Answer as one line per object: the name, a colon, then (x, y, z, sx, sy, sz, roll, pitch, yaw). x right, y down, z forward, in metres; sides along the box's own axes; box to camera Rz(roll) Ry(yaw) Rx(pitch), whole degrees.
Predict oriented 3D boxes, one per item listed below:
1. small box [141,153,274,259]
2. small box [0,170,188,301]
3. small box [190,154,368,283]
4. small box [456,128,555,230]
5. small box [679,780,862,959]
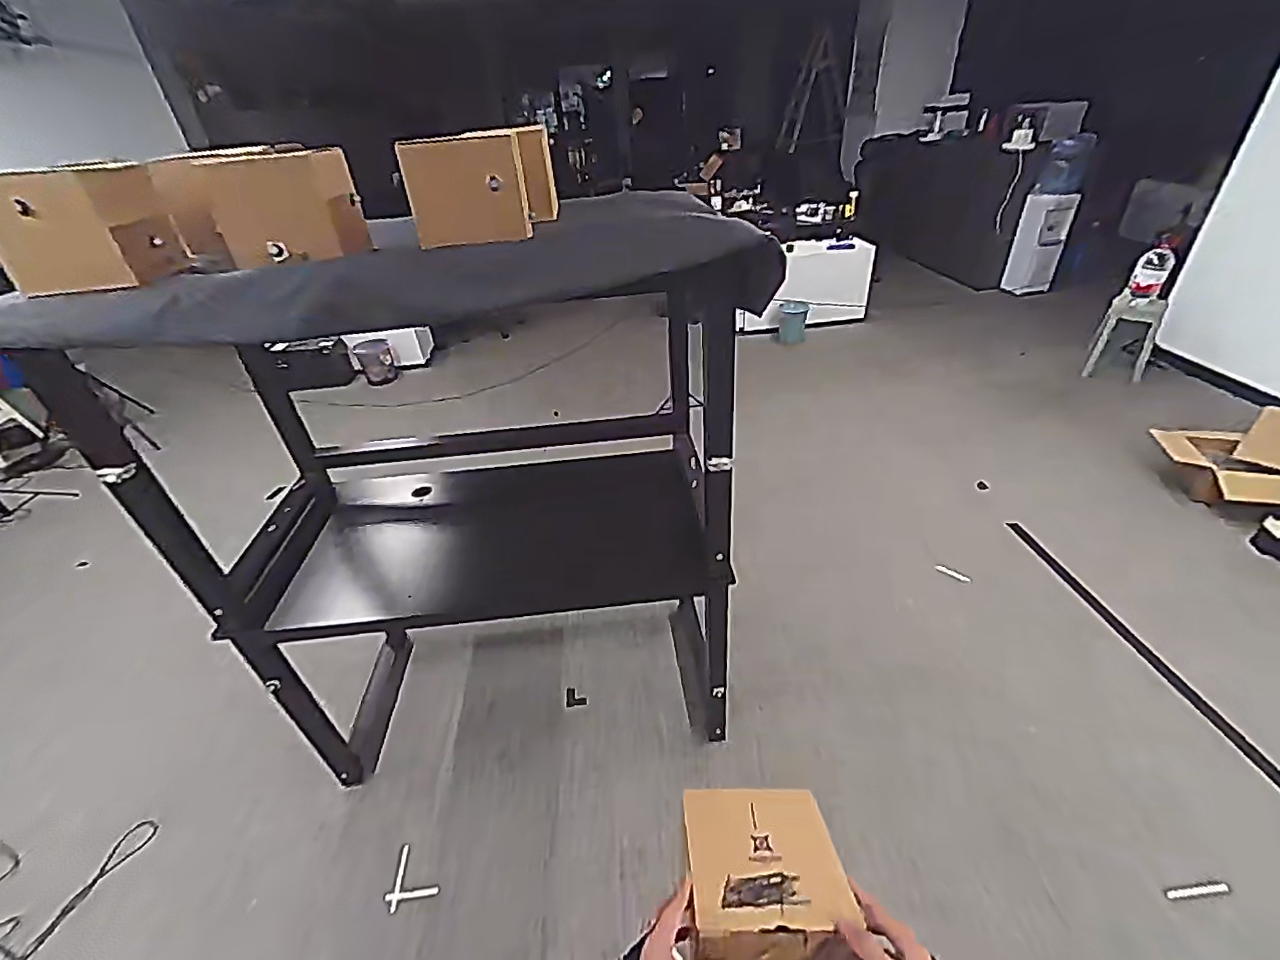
small box: (-0.848, -0.568, 1.120, 0.179, 0.176, 0.168, -7, 35, -4)
small box: (-0.905, -0.398, 0.879, 0.179, 0.176, 0.168, -8, 34, -6)
small box: (-0.576, -0.435, 0.896, 0.168, 0.176, 0.179, -9, 34, -5)
small box: (-0.276, -0.639, 1.153, 0.168, 0.176, 0.179, -7, 35, -3)
small box: (0.133, 0.476, 0.612, 0.168, 0.176, 0.179, 0, 13, -1)
